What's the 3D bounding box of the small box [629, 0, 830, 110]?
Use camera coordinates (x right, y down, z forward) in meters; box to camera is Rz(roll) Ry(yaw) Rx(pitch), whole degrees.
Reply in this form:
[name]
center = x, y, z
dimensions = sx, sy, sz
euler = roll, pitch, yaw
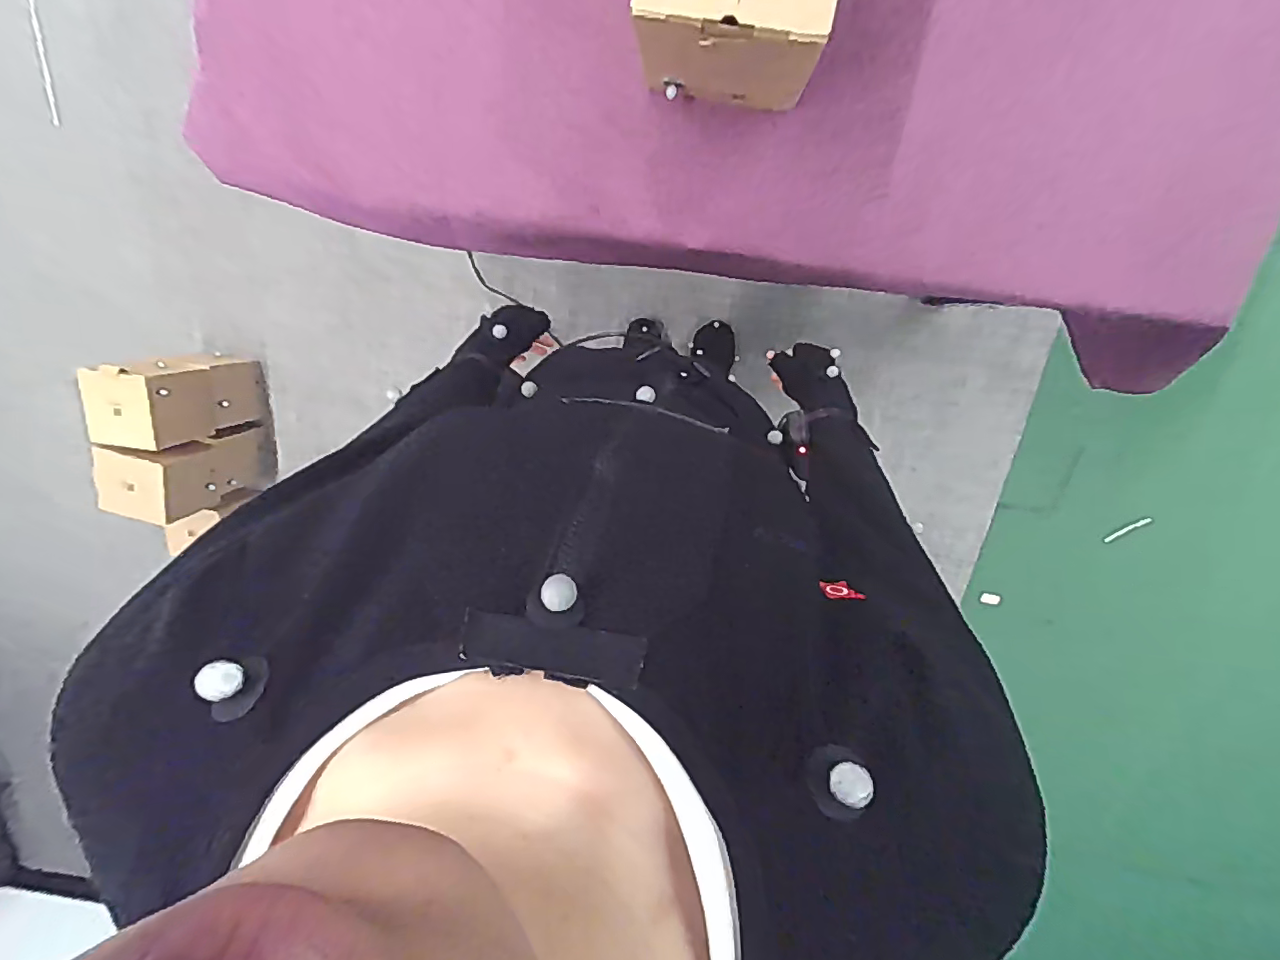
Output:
[small box]
center = 0.092, -0.475, 0.500
dimensions = 0.168, 0.176, 0.179
euler = 10, 107, 2
